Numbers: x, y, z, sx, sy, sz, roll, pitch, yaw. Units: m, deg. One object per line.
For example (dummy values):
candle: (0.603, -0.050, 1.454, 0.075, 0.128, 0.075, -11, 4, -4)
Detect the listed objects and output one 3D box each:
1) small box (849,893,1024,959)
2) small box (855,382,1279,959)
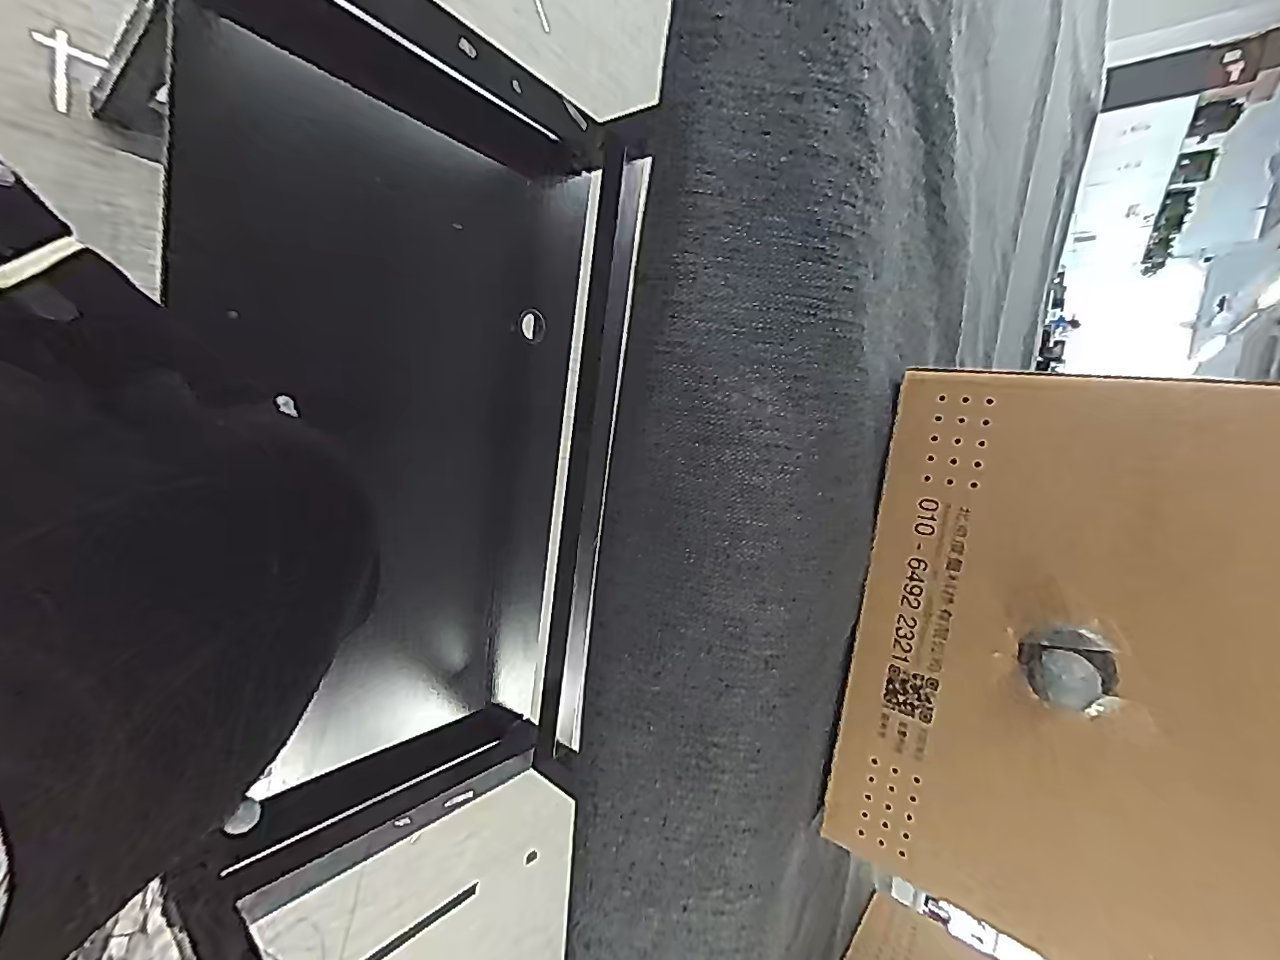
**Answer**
small box: (0.165, 0.352, 0.245, 0.179, 0.176, 0.168, 6, 95, -54)
small box: (0.200, 0.057, 0.208, 0.179, 0.176, 0.168, 0, 99, -54)
